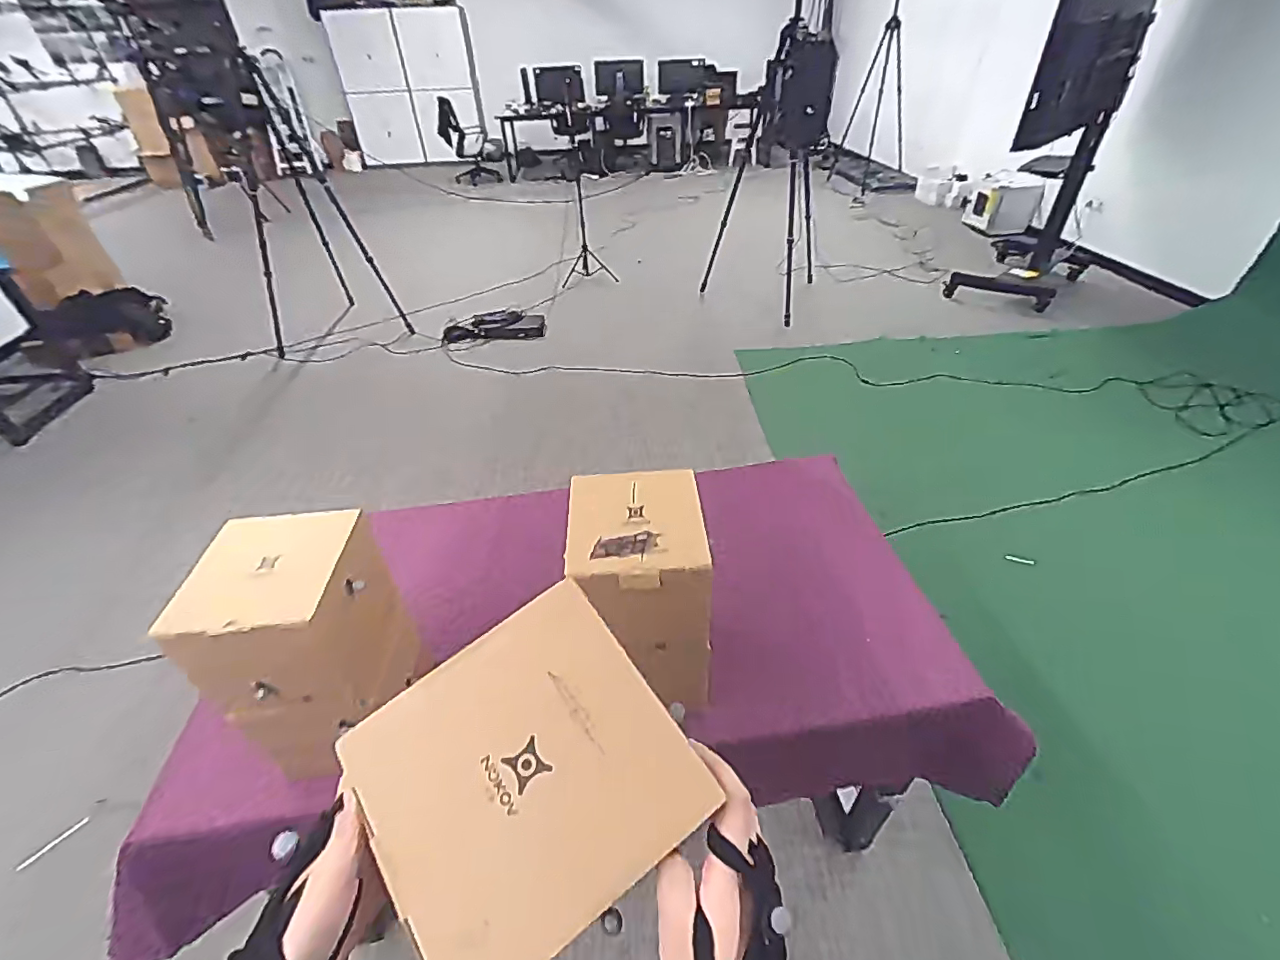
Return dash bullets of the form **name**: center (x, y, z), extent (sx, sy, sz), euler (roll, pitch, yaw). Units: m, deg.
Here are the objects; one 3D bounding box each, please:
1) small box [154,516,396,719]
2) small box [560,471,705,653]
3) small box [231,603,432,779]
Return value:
- **small box**: center (-0.426, 0.168, 0.674), extent (0.168, 0.176, 0.179), euler (-5, 40, -3)
- **small box**: center (-0.006, 0.111, 0.708), extent (0.168, 0.176, 0.179), euler (-4, 39, 0)
- **small box**: center (-0.415, 0.300, 0.770), extent (0.179, 0.176, 0.168), euler (-6, 39, -3)
